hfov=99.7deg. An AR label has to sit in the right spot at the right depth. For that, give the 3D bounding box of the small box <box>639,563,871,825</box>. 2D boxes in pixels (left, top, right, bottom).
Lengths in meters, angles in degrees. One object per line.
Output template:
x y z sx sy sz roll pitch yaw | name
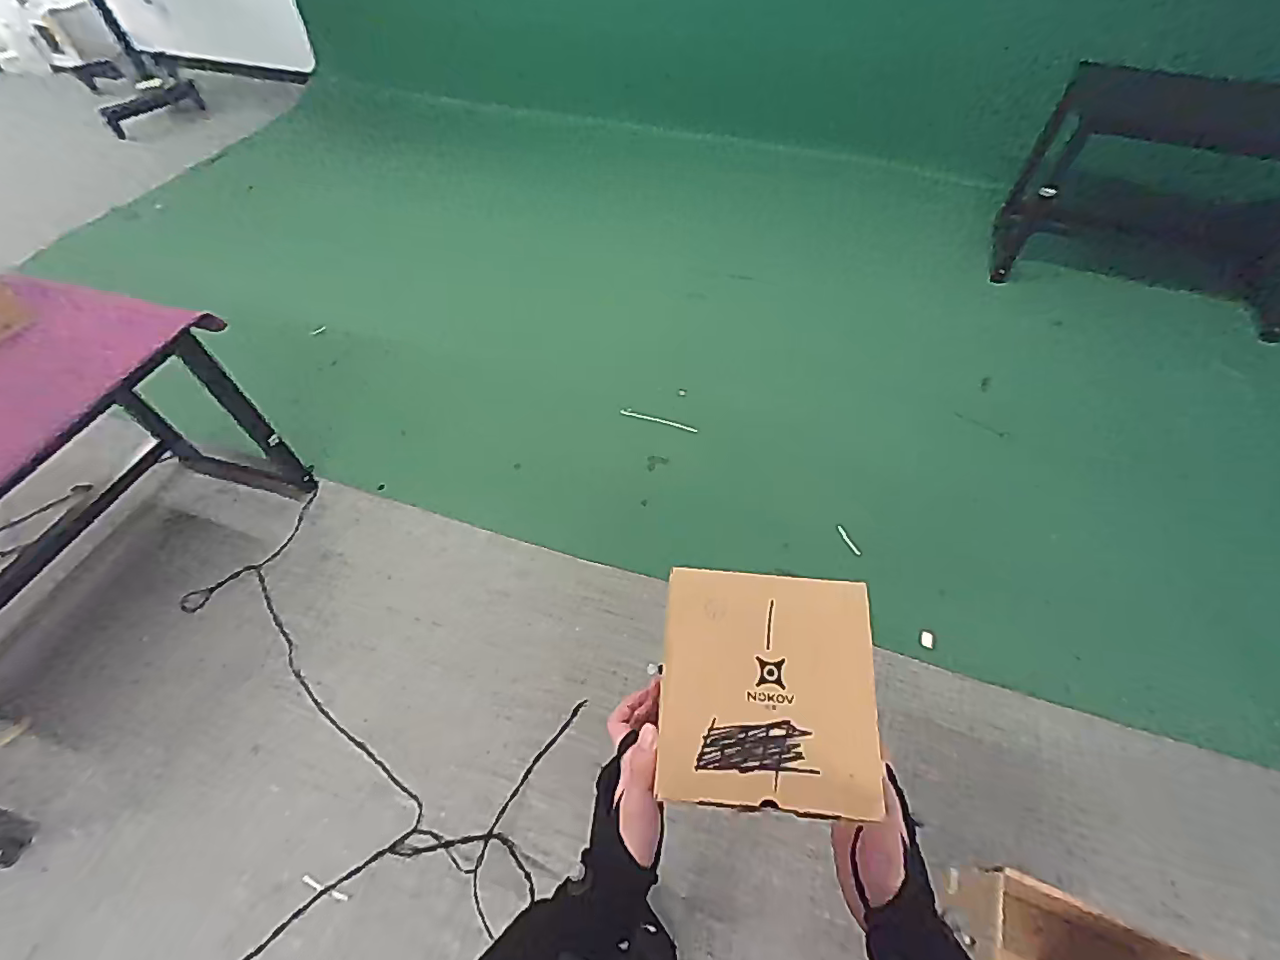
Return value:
0.091 0.186 0.487 0.168 0.176 0.179 4 66 3 | small box
